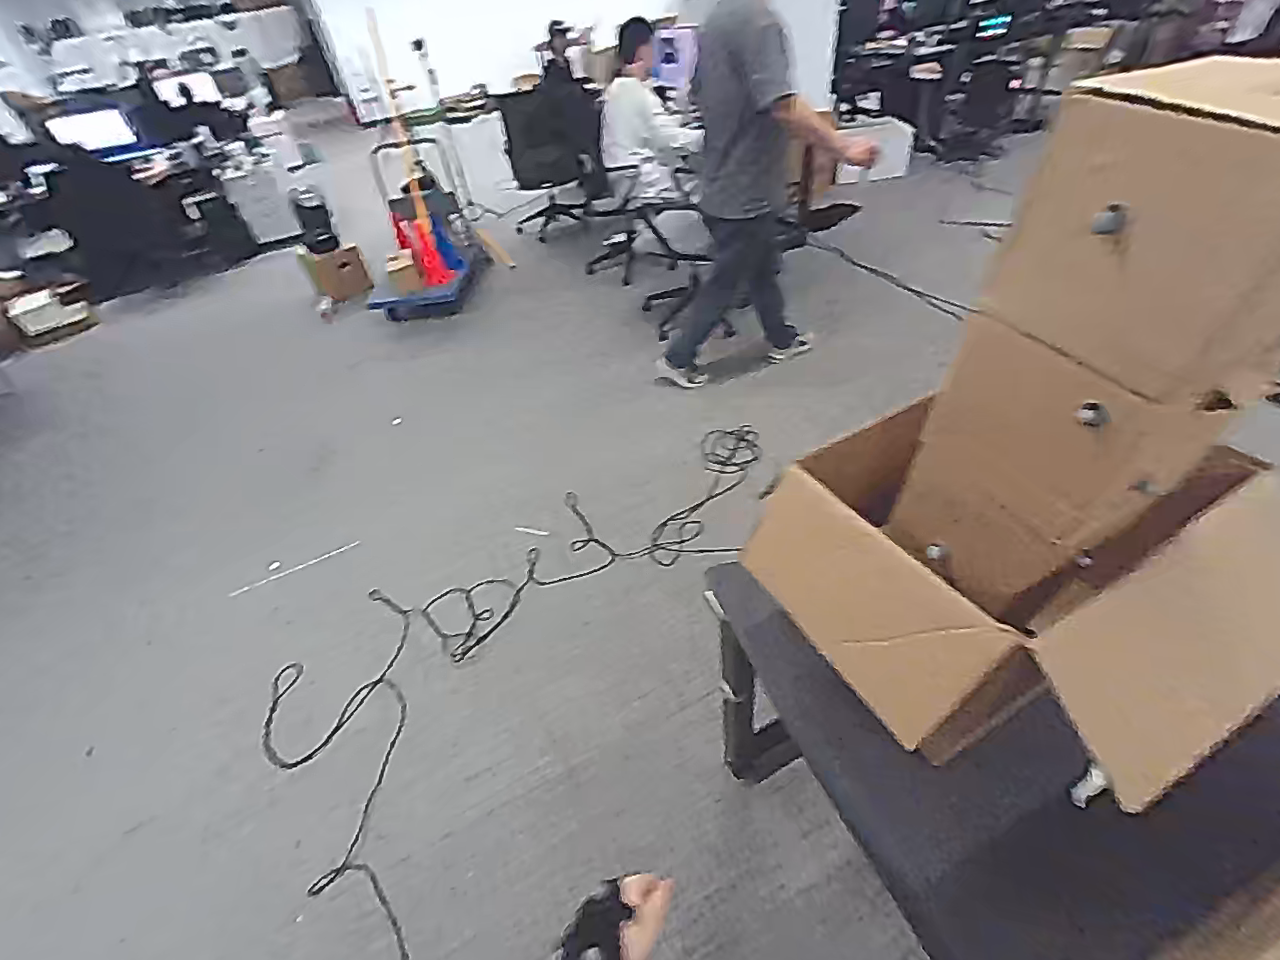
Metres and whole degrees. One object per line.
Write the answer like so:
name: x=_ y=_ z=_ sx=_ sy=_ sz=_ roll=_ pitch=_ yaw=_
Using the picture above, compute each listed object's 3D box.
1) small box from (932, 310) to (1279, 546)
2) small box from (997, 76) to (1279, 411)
small box: x=0.430 y=-0.068 z=0.529 sx=0.168 sy=0.176 sz=0.179 roll=-20 pitch=50 yaw=-15
small box: x=0.425 y=-0.181 z=0.410 sx=0.168 sy=0.176 sz=0.179 roll=-19 pitch=49 yaw=-14
